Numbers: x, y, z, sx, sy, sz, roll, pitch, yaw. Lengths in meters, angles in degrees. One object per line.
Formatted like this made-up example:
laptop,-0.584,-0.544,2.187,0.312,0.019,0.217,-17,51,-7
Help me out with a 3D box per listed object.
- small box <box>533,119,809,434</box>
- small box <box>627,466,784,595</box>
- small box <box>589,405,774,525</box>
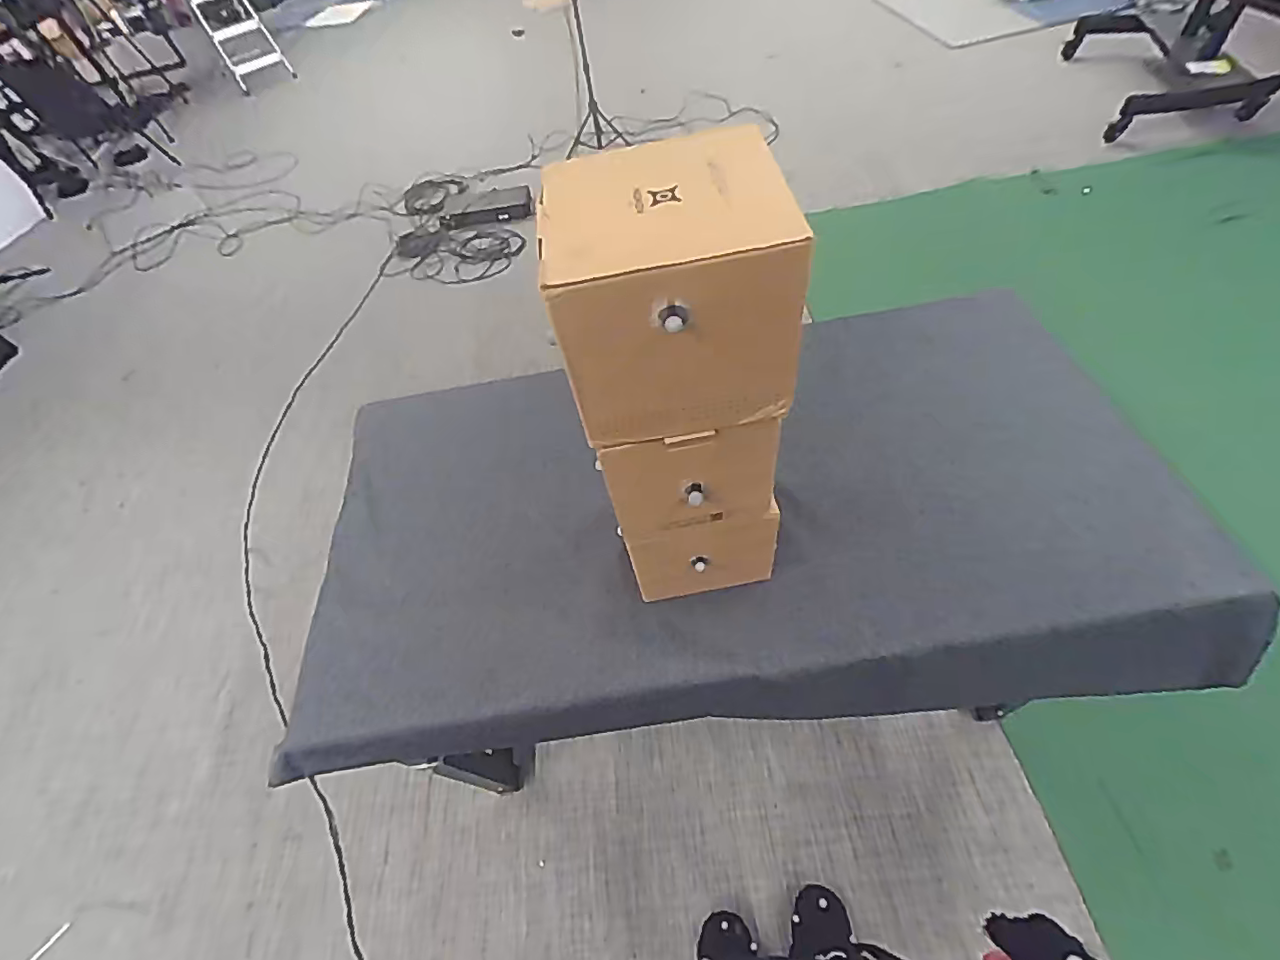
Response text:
small box,0.022,-0.155,0.442,0.179,0.176,0.168,-9,55,2
small box,0.068,0.030,0.706,0.179,0.176,0.168,-13,55,-2
small box,0.038,-0.066,0.578,0.168,0.176,0.179,-11,55,2
